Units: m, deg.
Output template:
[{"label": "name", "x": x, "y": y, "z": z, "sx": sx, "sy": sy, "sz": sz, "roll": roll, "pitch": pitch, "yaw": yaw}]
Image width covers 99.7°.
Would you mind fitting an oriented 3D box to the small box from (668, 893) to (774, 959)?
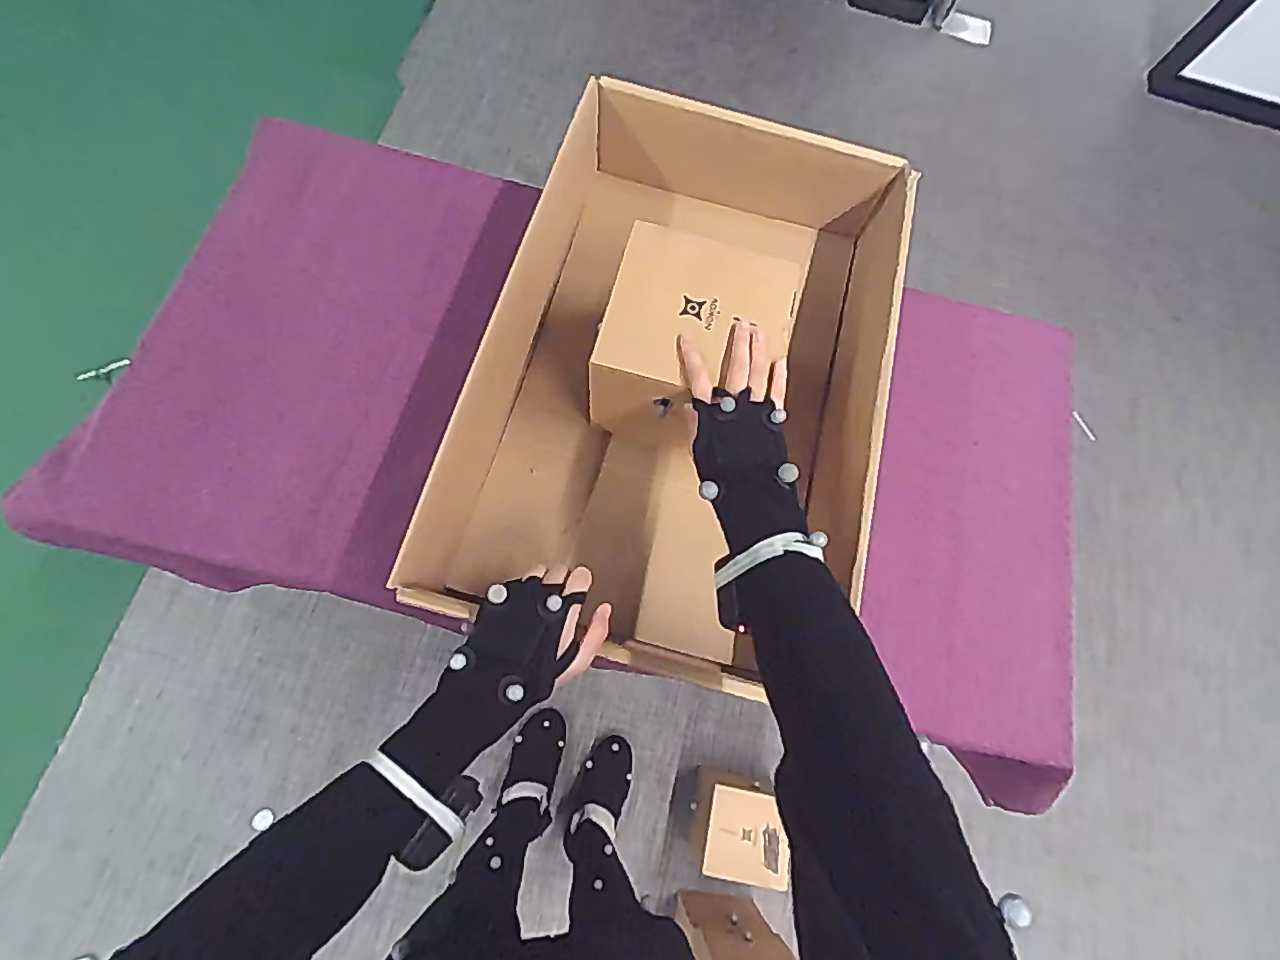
[{"label": "small box", "x": 0.156, "y": 0.975, "z": 1.098, "sx": 0.179, "sy": 0.176, "sz": 0.168, "roll": 10, "pitch": 73, "yaw": -3}]
